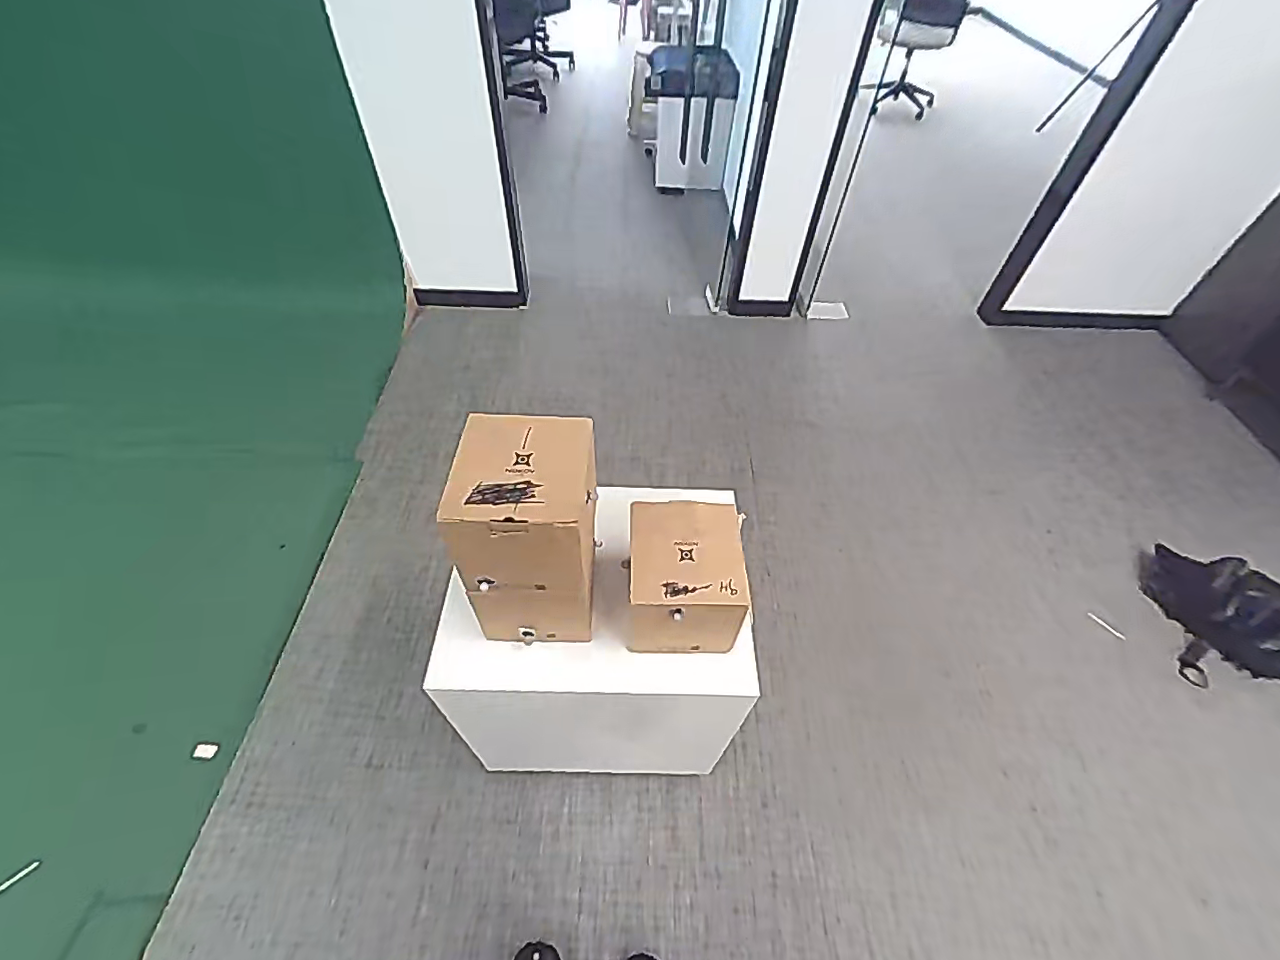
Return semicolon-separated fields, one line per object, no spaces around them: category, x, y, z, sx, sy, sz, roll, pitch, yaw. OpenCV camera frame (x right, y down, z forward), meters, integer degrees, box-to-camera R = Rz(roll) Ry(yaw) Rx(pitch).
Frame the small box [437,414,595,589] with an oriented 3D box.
small box;-0.151;0.032;0.731;0.168;0.176;0.179;3;49;0

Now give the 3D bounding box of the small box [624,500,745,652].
small box;0.061;0.152;0.853;0.168;0.176;0.179;2;49;-1

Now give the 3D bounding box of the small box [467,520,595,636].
small box;-0.158;0.127;0.844;0.168;0.176;0.179;0;52;-2
